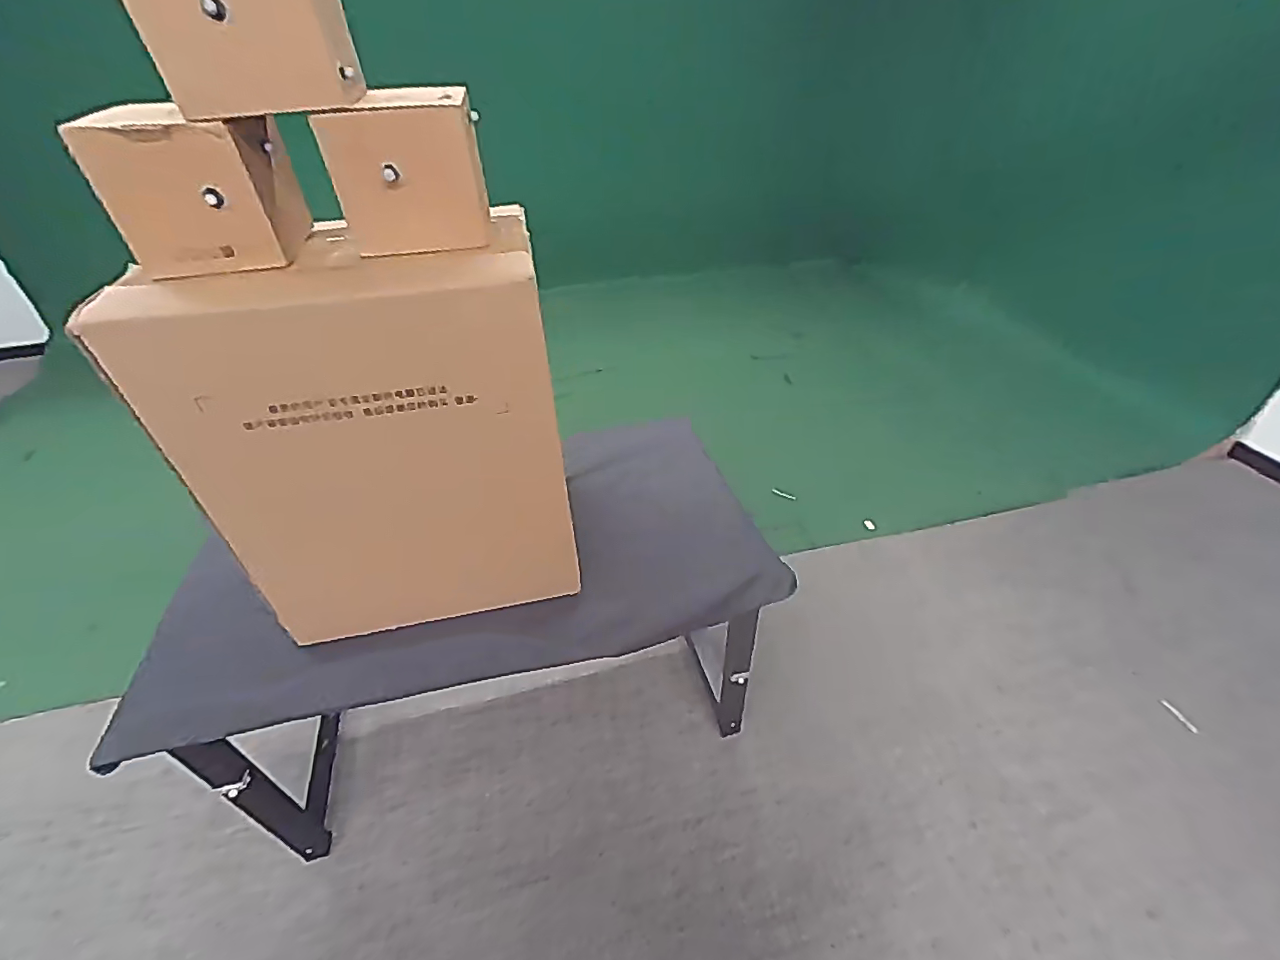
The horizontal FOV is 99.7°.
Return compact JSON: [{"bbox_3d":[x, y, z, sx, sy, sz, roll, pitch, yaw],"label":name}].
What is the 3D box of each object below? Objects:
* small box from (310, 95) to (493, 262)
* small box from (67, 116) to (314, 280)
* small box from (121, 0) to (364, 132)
[{"bbox_3d":[-0.312,-0.417,0.750,0.179,0.176,0.168,-10,43,-7],"label":"small box"},{"bbox_3d":[-0.562,-0.372,0.713,0.168,0.176,0.179,-9,41,-10],"label":"small box"},{"bbox_3d":[-0.444,-0.517,0.622,0.179,0.176,0.168,-11,42,-8],"label":"small box"}]
